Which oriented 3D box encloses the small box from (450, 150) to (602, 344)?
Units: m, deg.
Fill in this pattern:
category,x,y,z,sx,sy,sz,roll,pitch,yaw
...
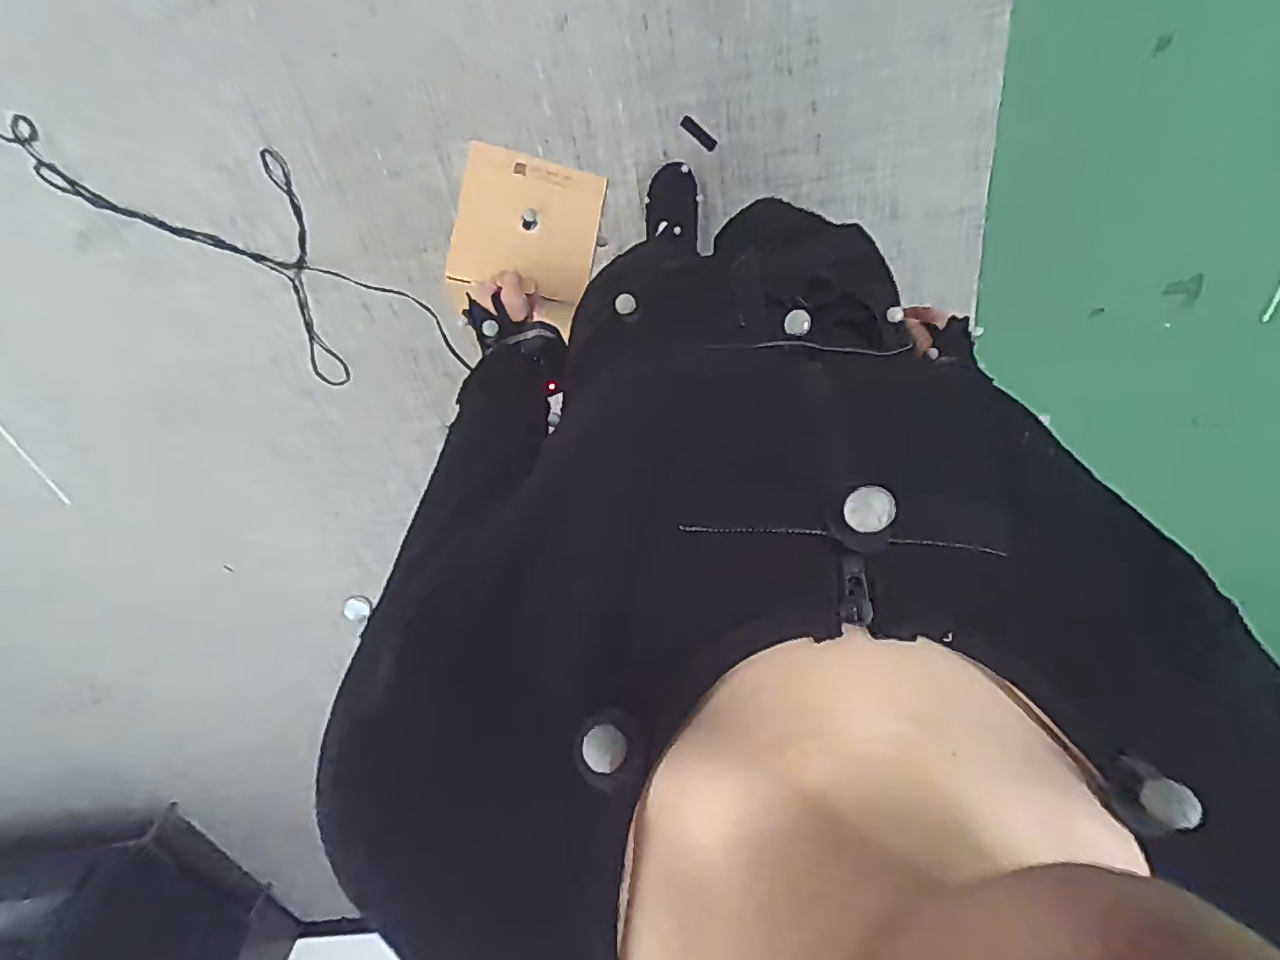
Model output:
category,x,y,z,sx,sy,sz,roll,pitch,yaw
small box,-0.148,-0.301,0.725,0.168,0.179,0.176,9,87,-11
